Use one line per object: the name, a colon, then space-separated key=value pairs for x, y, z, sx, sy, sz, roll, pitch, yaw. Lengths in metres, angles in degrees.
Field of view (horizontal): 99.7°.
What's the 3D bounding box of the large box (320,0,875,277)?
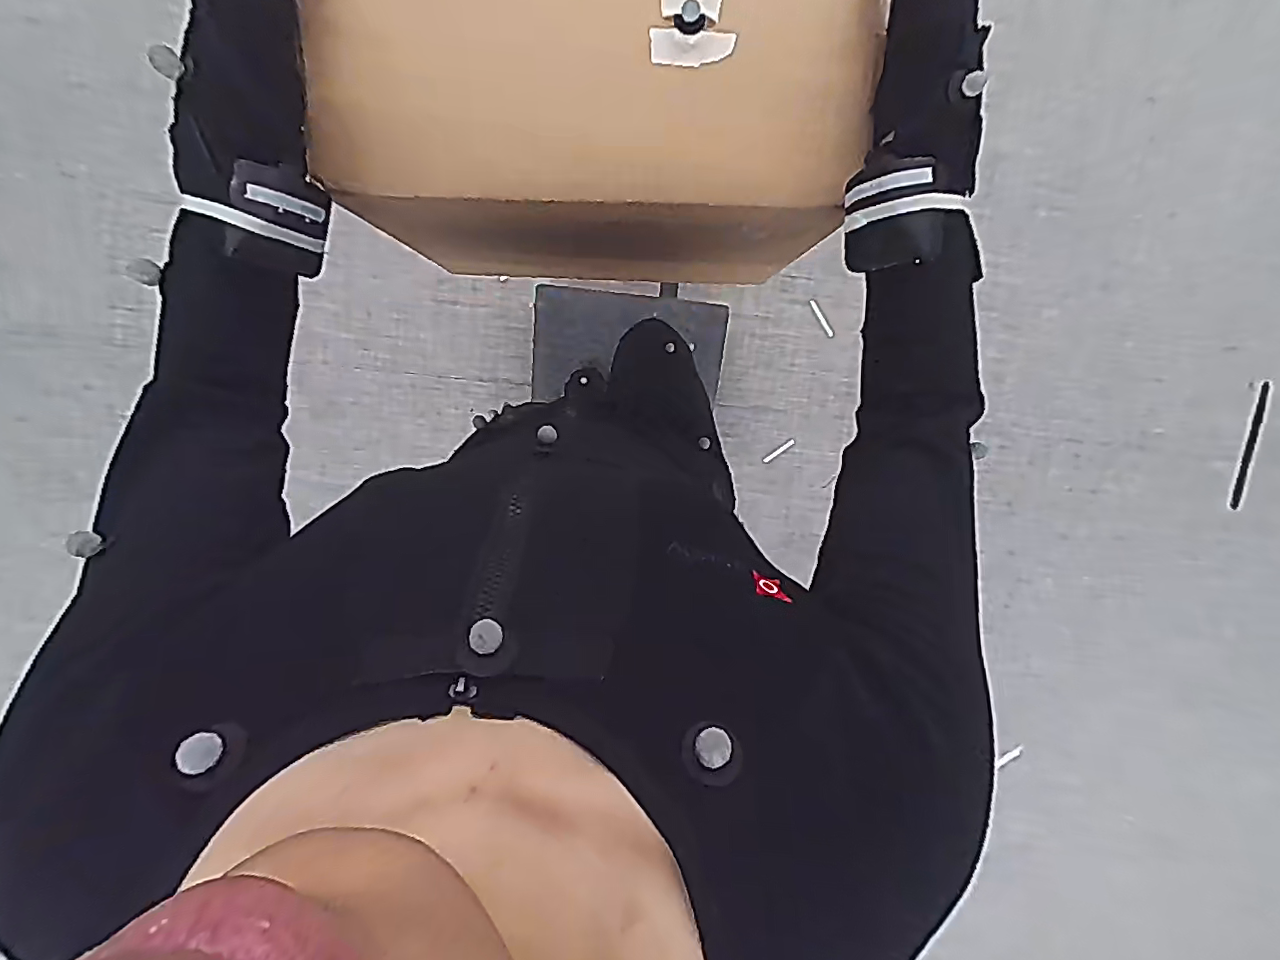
large box: x=-0.032 y=-0.390 z=0.529 sx=0.408 sy=0.320 sz=0.320 roll=1 pitch=100 yaw=-2
